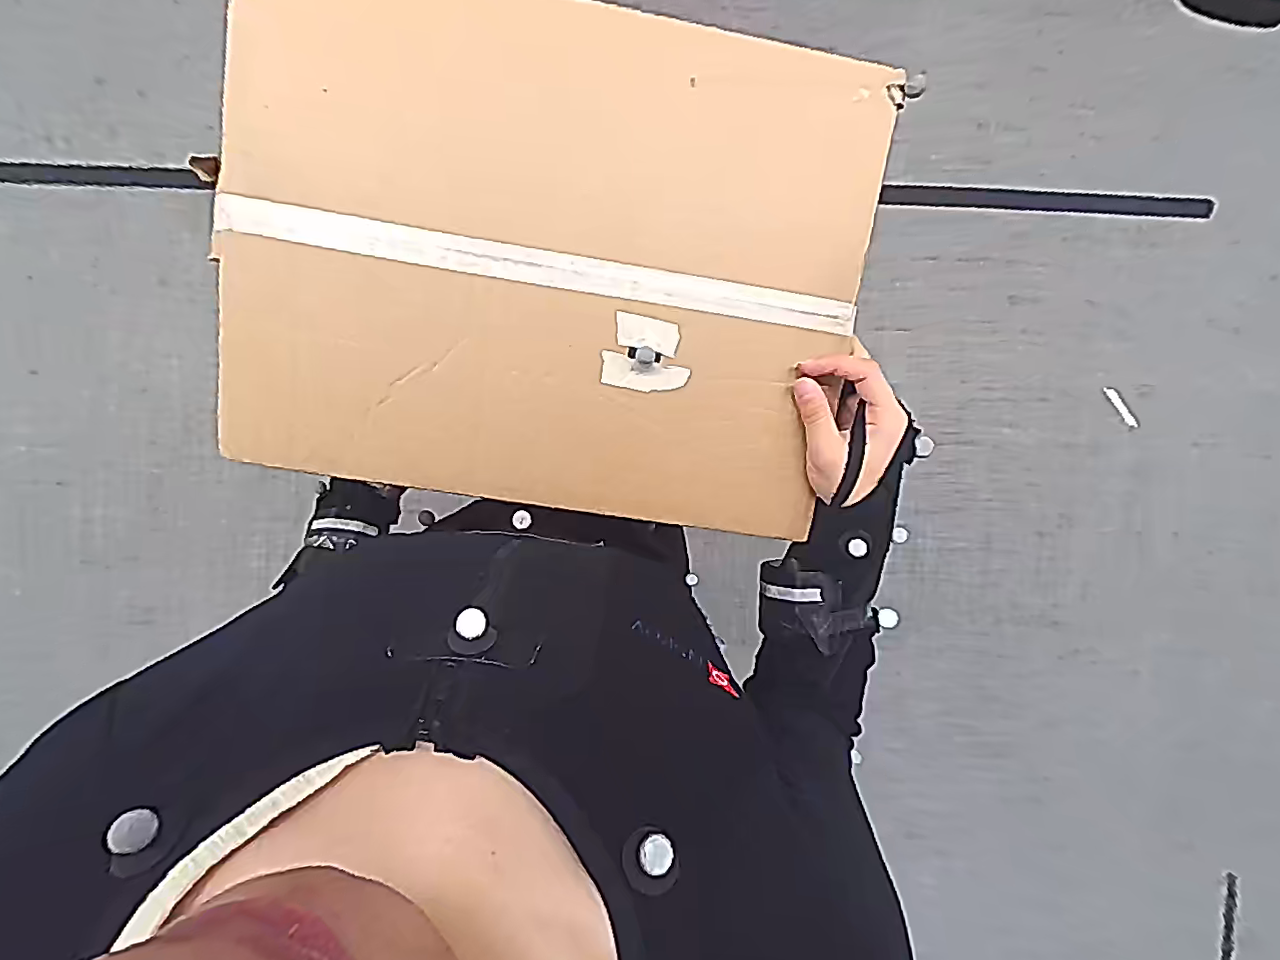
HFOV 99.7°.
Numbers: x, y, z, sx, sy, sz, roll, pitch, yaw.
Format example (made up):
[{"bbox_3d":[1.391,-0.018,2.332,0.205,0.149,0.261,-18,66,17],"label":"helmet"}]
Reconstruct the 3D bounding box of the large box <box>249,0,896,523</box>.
[{"bbox_3d":[-0.059,-0.165,0.505,0.408,0.320,0.320,8,100,-6],"label":"large box"}]
